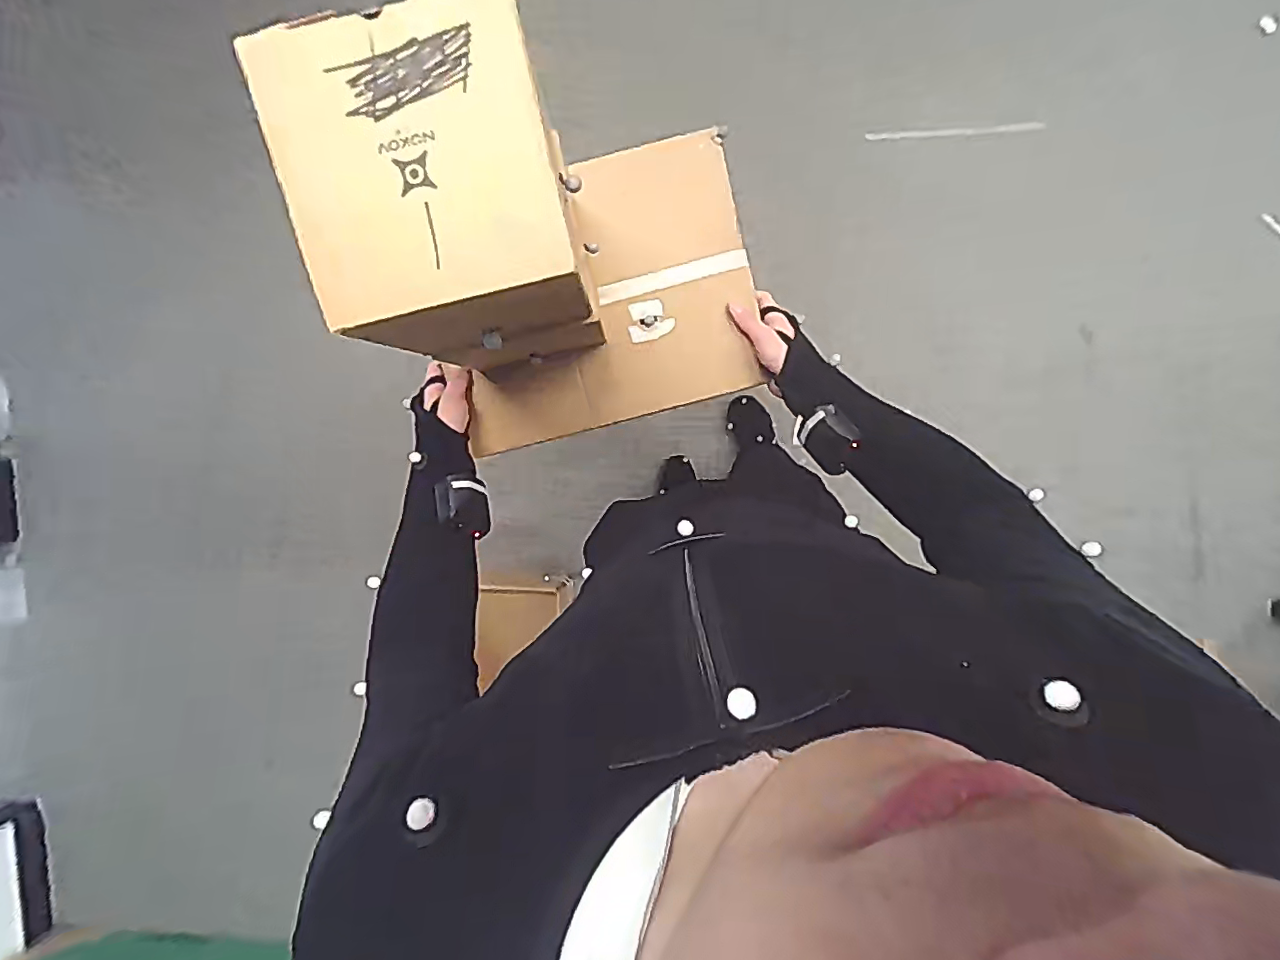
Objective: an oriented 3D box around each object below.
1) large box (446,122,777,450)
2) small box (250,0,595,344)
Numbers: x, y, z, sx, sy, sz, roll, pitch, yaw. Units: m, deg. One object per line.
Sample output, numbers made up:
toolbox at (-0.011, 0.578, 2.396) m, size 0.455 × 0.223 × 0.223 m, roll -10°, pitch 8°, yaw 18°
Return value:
large box at (-0.059, -0.252, 0.815) m, size 0.408 × 0.320 × 0.320 m, roll -14°, pitch 99°, yaw 0°
small box at (-0.134, -0.212, 0.406) m, size 0.168 × 0.176 × 0.179 m, roll -13°, pitch 99°, yaw 1°
